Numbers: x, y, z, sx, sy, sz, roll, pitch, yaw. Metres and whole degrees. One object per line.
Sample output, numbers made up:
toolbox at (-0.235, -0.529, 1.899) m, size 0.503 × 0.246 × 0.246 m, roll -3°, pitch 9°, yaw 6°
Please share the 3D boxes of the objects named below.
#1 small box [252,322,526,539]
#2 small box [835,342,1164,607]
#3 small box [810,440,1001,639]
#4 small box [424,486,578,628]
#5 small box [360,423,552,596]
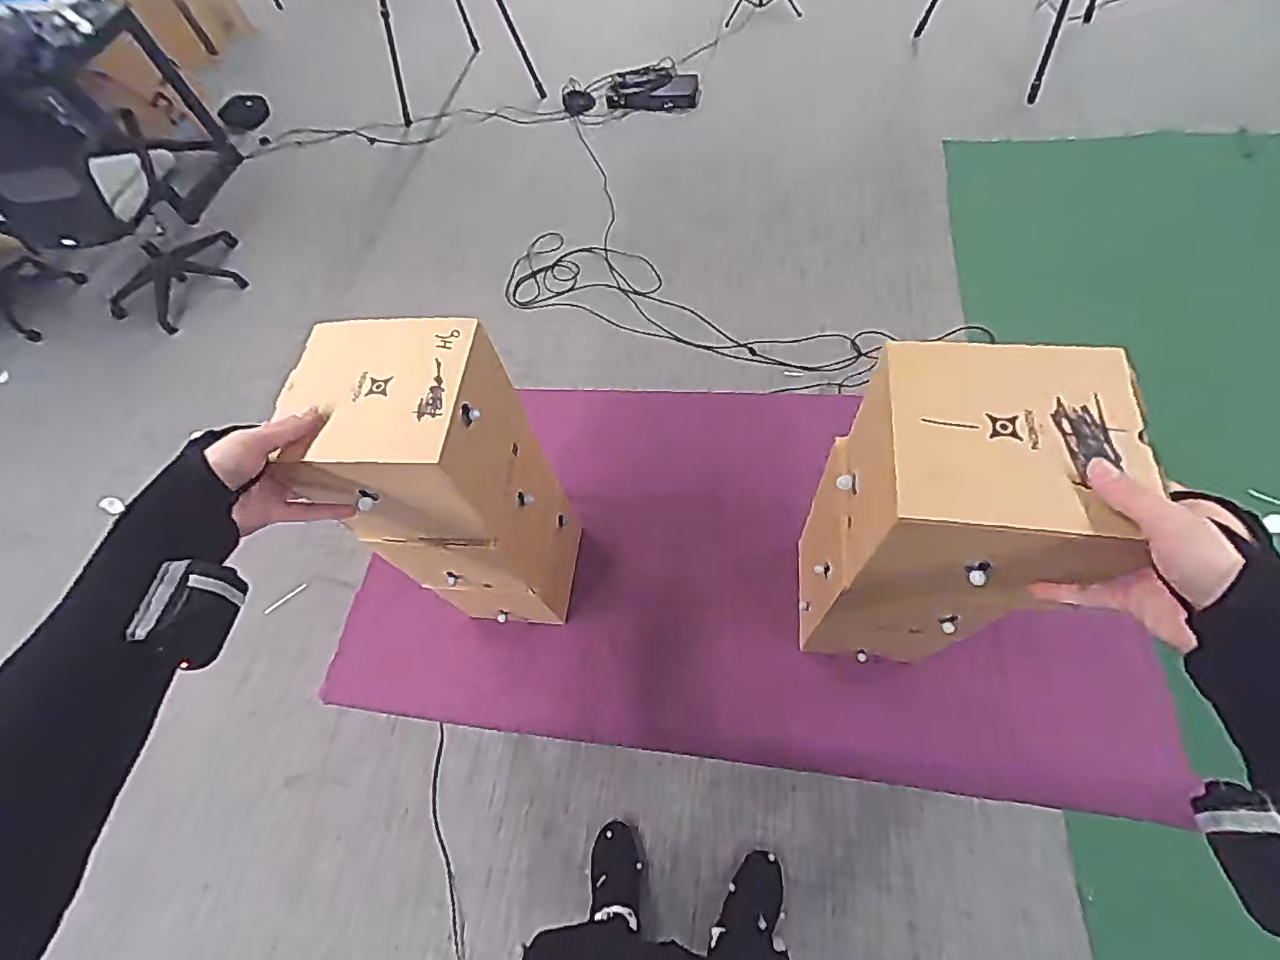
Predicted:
small box at (-0.241, -0.044, 0.571) m, size 0.179 × 0.176 × 0.168 m, roll 1°, pitch 61°, yaw 9°
small box at (0.277, 0.003, 0.468) m, size 0.179 × 0.176 × 0.168 m, roll 5°, pitch 62°, yaw 11°
small box at (0.291, 0.073, 0.616) m, size 0.168 × 0.176 × 0.179 m, roll 2°, pitch 61°, yaw 10°
small box at (-0.203, 0.119, 0.852) m, size 0.168 × 0.176 × 0.179 m, roll 2°, pitch 61°, yaw 10°
small box at (-0.222, 0.038, 0.712) m, size 0.168 × 0.176 × 0.179 m, roll 2°, pitch 61°, yaw 9°
